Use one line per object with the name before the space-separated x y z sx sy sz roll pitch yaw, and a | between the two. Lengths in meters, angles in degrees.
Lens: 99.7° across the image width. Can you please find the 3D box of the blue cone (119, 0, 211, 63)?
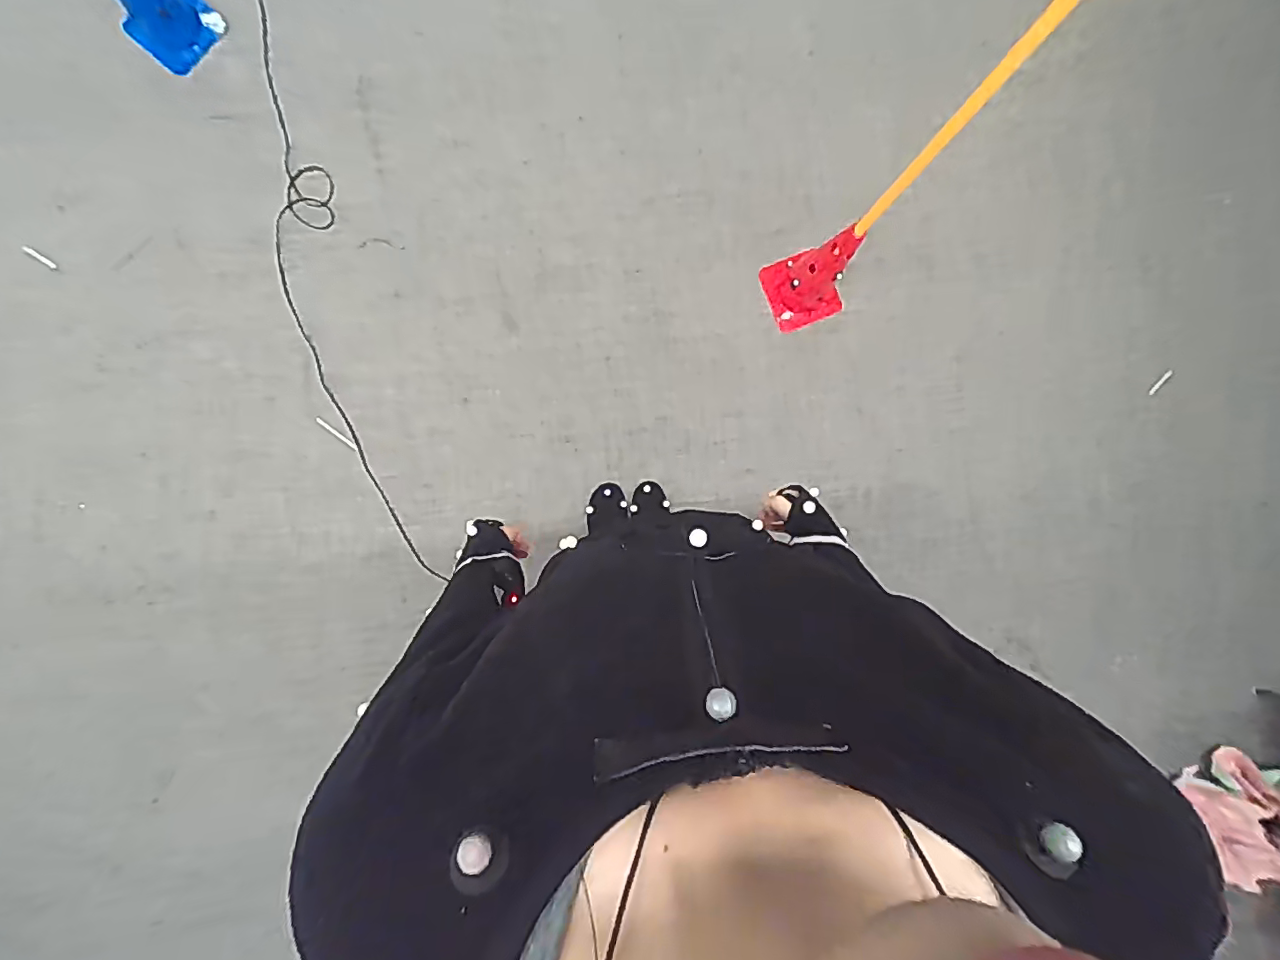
blue cone | -1.224 -1.198 1.243 0.192 0.380 0.193 39 89 -4
